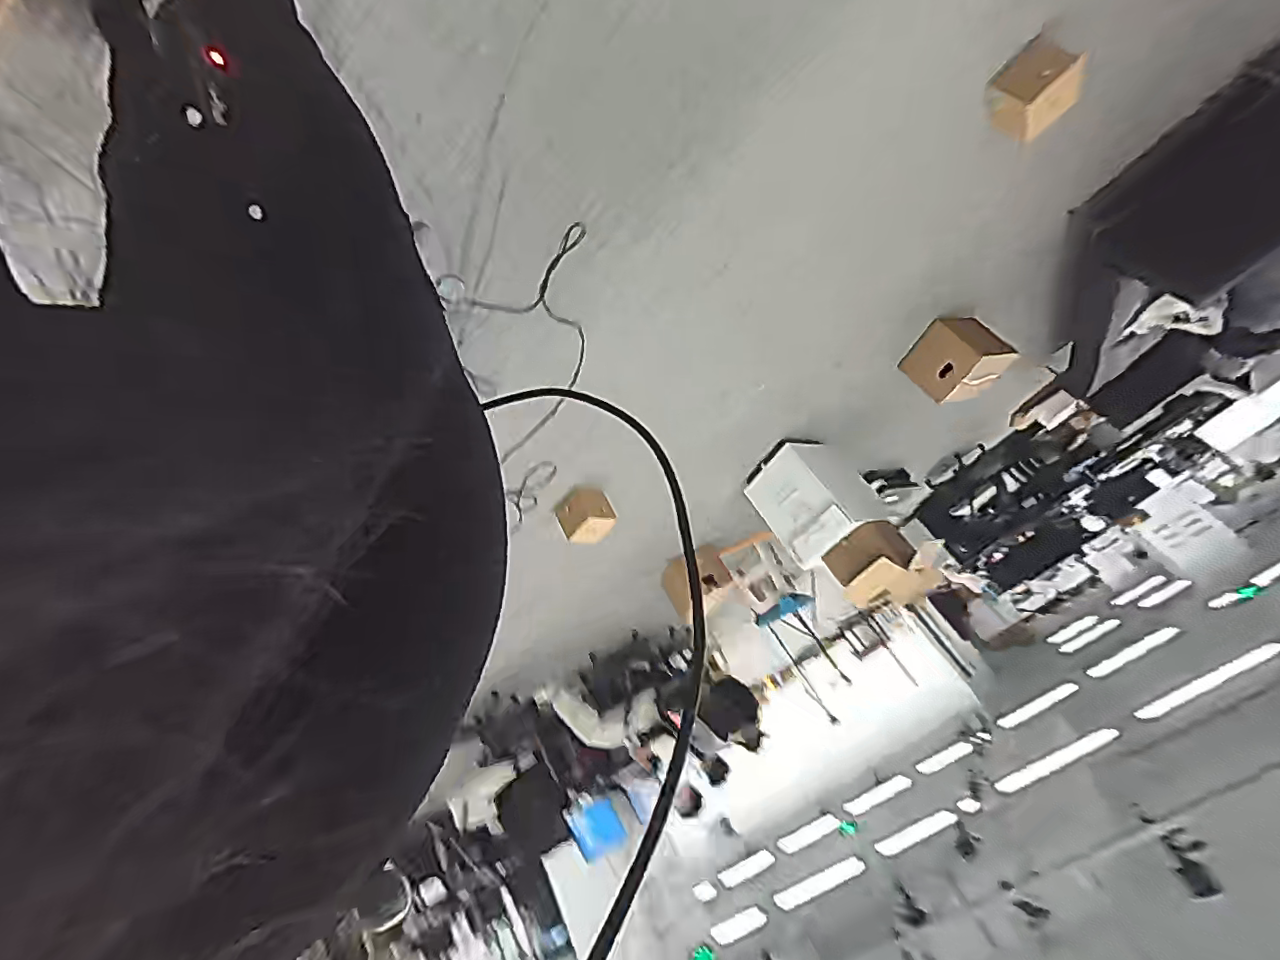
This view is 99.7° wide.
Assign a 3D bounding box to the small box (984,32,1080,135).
[{"bbox_3d":[1.222,-1.246,1.697,0.179,0.176,0.168,-42,149,19],"label":"small box"}]

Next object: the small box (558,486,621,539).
[{"bbox_3d":[-0.223,0.141,2.358,0.179,0.176,0.168,8,132,-49],"label":"small box"}]
